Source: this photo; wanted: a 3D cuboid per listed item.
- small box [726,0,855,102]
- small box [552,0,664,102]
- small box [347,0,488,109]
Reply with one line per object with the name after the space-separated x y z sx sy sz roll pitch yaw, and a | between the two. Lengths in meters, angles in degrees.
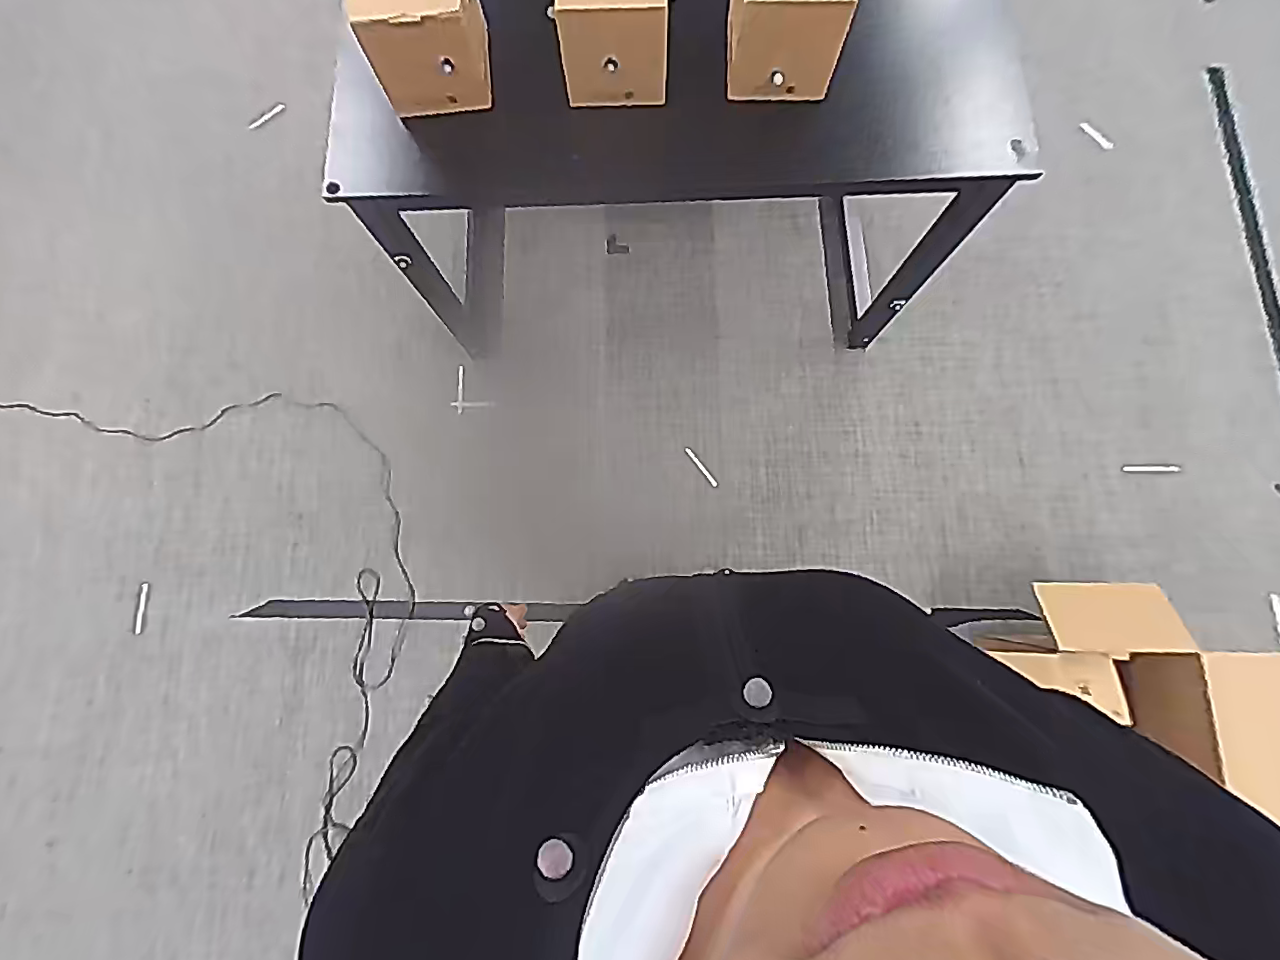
0.231 -0.755 0.868 0.168 0.176 0.179 2 80 2 | small box
-0.044 -0.748 0.872 0.168 0.176 0.179 0 79 1 | small box
-0.351 -0.739 0.878 0.168 0.176 0.179 -6 79 -1 | small box
